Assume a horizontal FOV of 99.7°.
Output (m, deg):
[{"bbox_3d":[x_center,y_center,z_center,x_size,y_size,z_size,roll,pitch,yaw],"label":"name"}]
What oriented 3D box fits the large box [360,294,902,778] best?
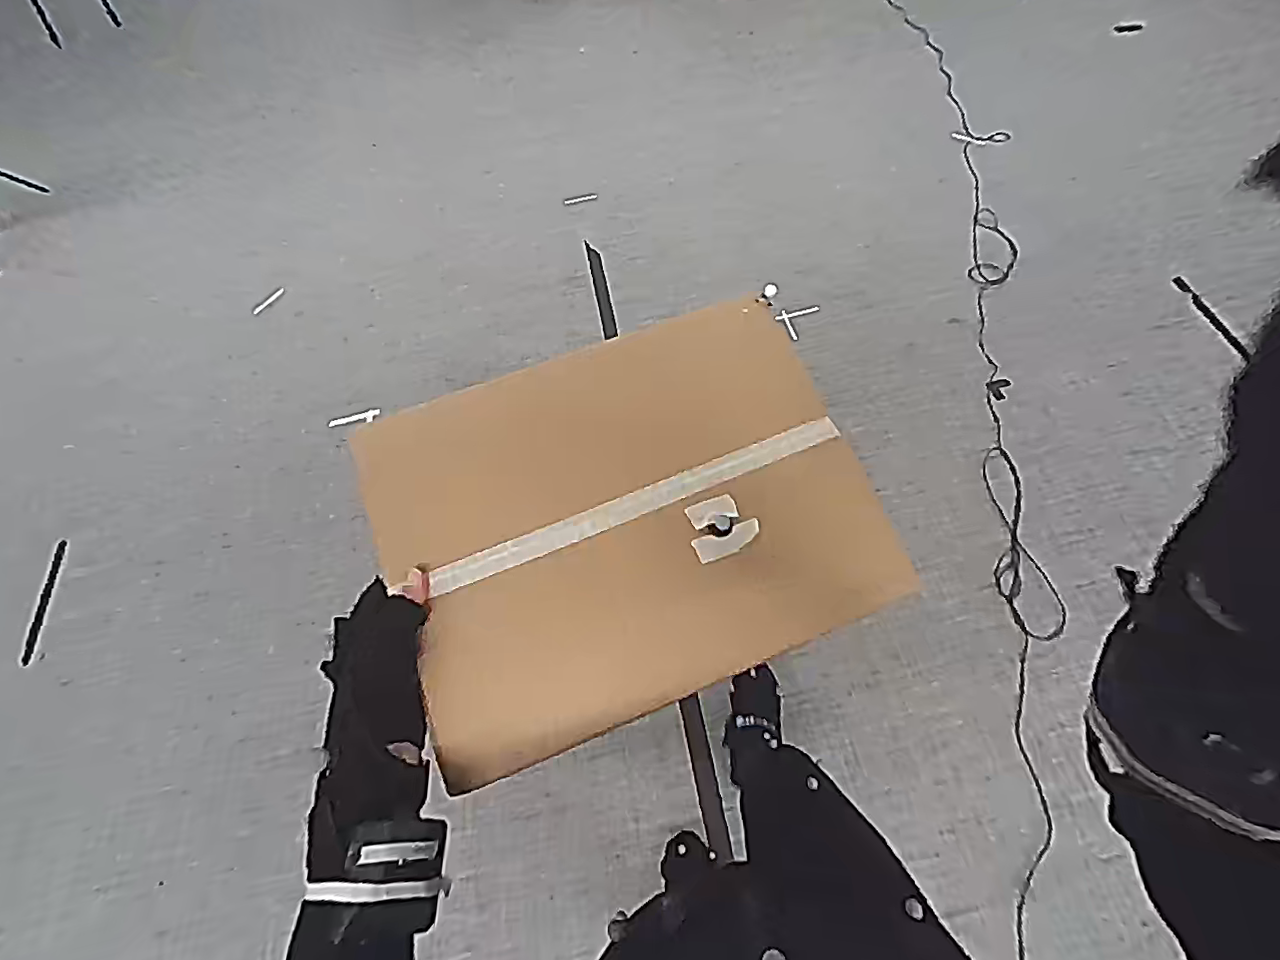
[{"bbox_3d":[-0.018,0.065,0.615,0.408,0.320,0.320,-22,76,-8],"label":"large box"}]
